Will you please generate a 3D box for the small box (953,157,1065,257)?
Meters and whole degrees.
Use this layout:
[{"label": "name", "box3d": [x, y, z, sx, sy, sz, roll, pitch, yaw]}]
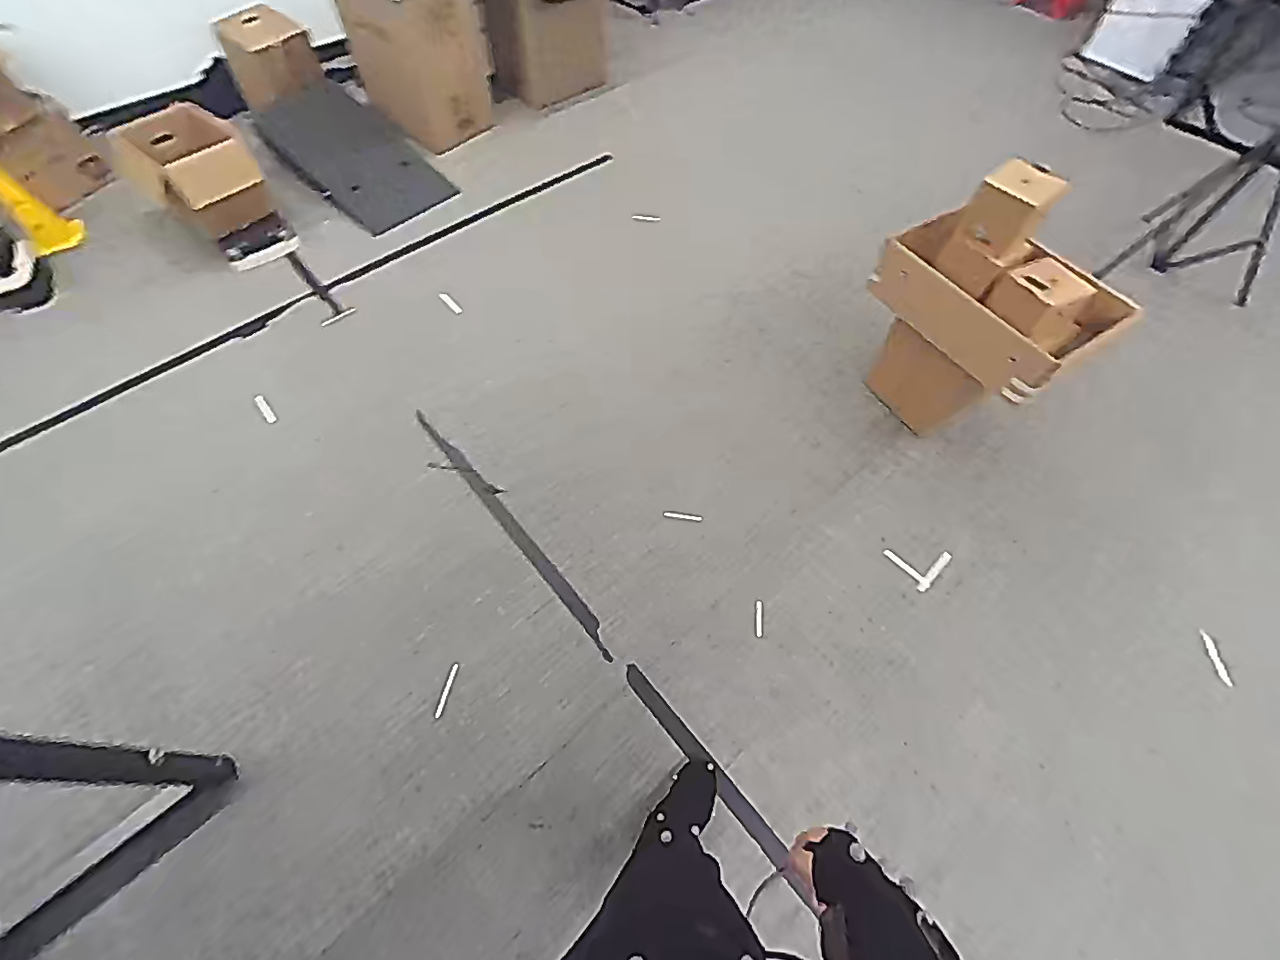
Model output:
[{"label": "small box", "box3d": [1.039, -0.774, 1.538, 0.179, 0.176, 0.168, -37, 67, -21]}]
